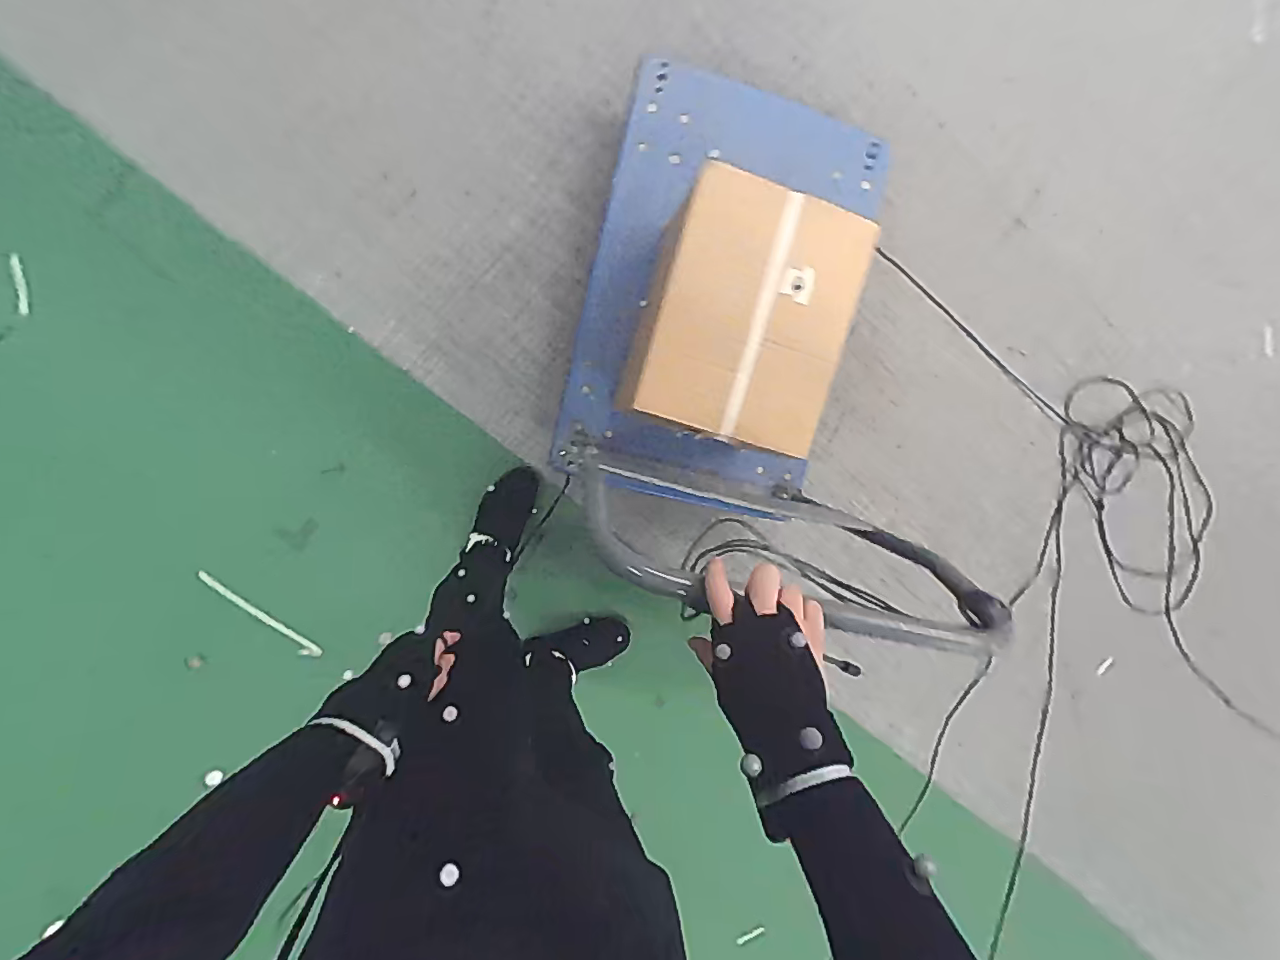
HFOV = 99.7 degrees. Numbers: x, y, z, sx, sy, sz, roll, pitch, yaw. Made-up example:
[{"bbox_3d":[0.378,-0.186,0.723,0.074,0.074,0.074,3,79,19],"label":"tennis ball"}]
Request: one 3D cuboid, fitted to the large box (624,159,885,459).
[{"bbox_3d":[0.179,-0.275,1.004,0.320,0.320,0.408,16,94,-11],"label":"large box"}]
